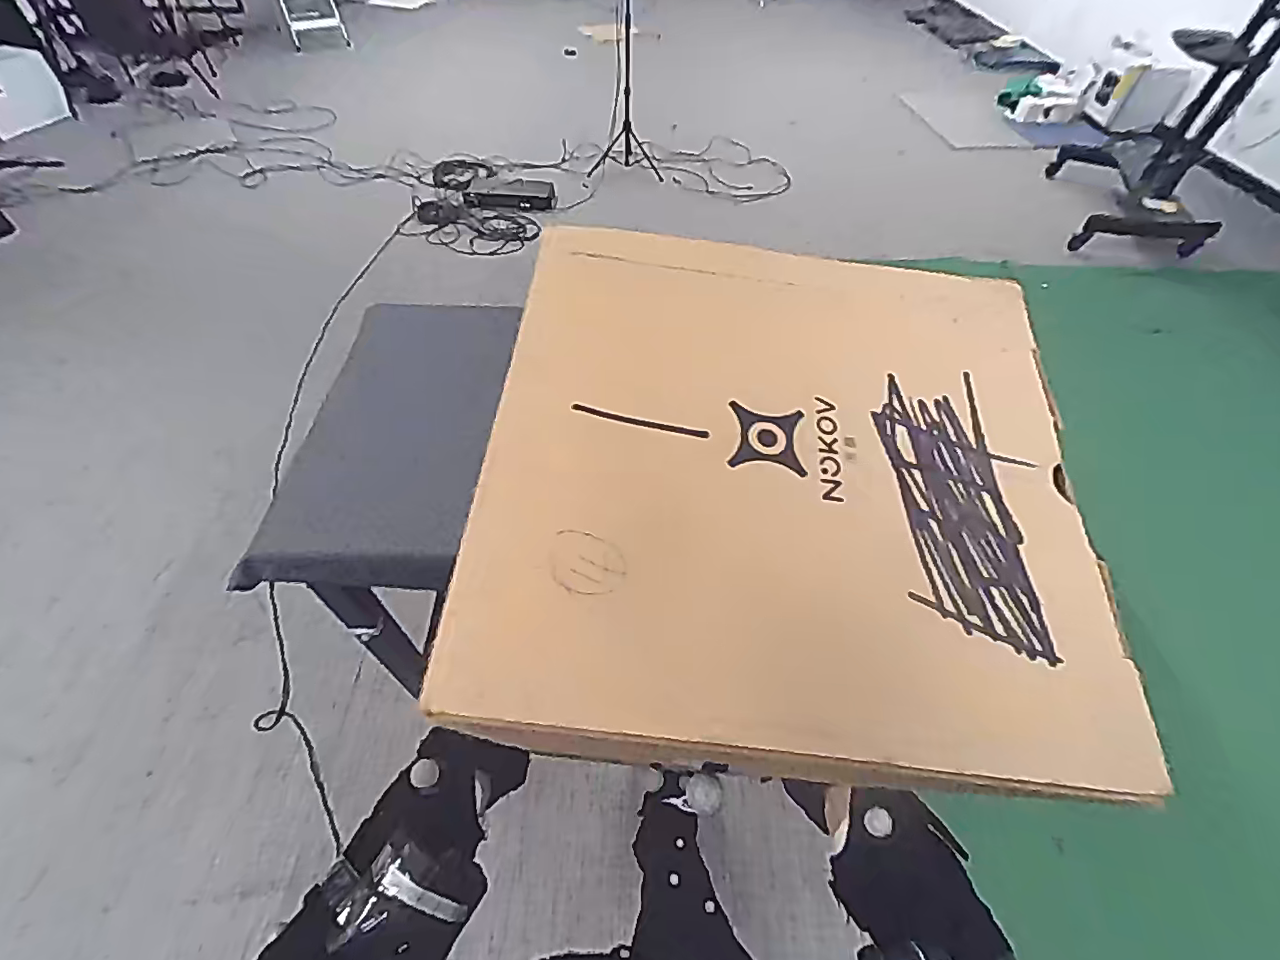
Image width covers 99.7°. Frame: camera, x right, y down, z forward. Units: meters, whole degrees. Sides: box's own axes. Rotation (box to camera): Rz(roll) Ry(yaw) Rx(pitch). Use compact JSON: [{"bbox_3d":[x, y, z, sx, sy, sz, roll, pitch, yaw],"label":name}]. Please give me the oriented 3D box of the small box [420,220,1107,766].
[{"bbox_3d":[0.033,0.023,0.239,0.179,0.176,0.168,7,62,-2],"label":"small box"}]
